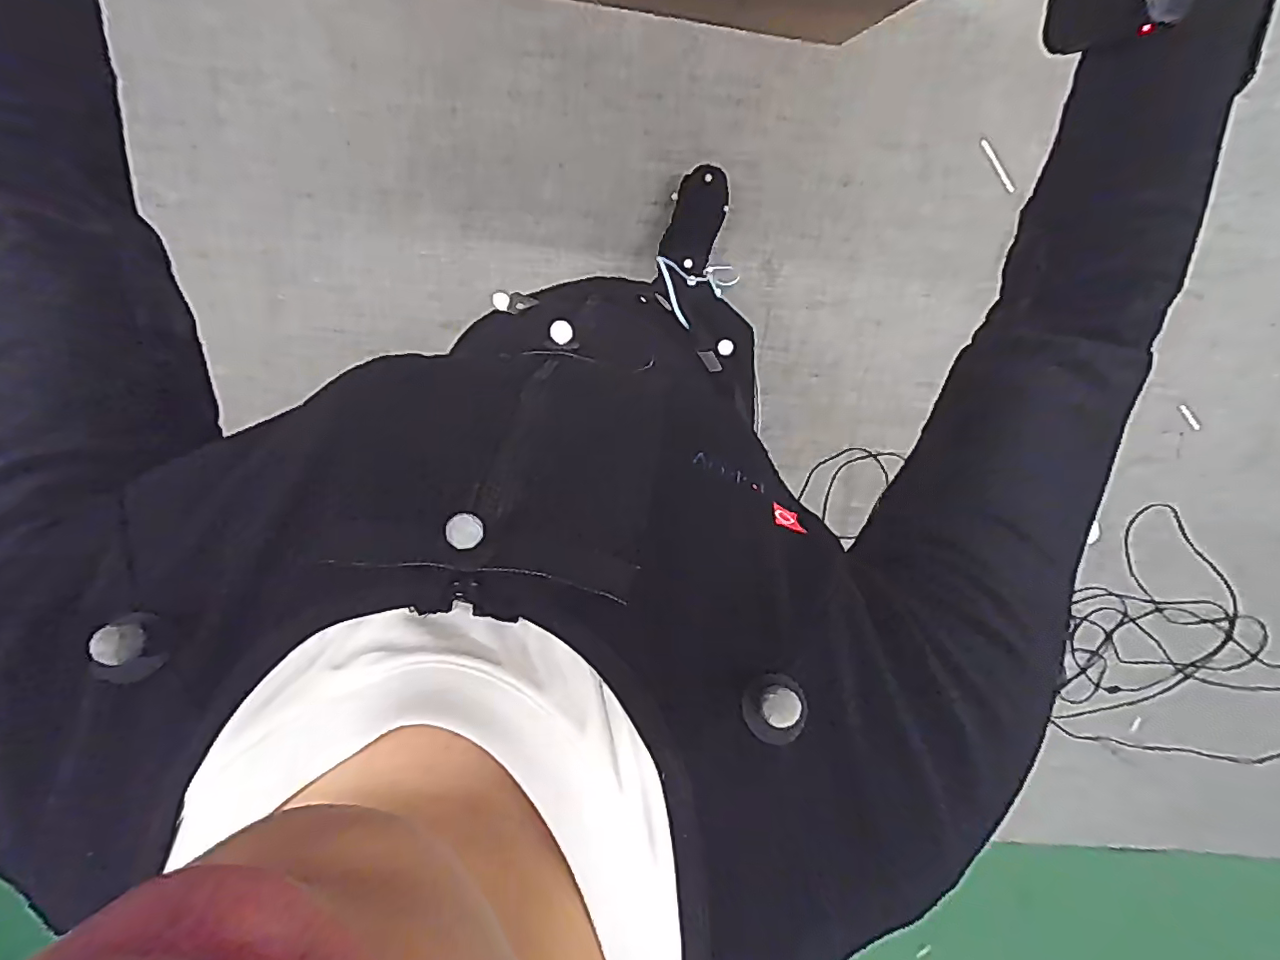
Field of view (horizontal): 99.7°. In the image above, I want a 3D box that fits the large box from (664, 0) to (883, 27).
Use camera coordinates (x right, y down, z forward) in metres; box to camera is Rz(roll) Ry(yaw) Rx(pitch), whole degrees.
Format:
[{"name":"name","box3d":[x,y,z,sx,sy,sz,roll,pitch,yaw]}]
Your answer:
[{"name":"large box","box3d":[0.016,-0.492,0.286,0.408,0.320,0.320,6,121,-4]}]
